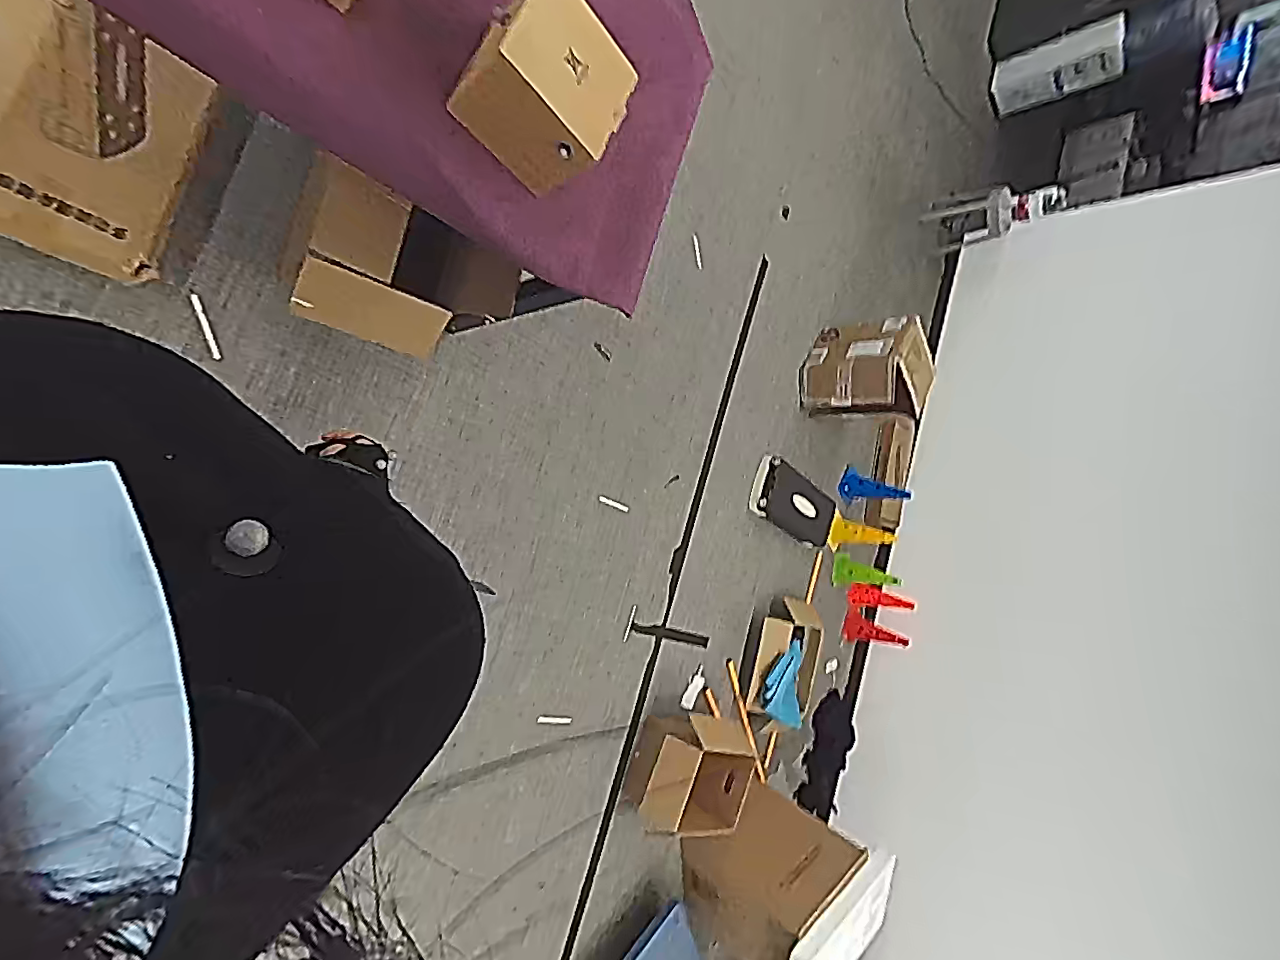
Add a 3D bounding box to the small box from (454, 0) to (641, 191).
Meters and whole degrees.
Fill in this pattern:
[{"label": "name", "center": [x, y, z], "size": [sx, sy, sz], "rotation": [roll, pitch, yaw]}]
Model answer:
[{"label": "small box", "center": [-0.137, -0.559, 0.781], "size": [0.179, 0.176, 0.168], "rotation": [33, 73, -41]}]
